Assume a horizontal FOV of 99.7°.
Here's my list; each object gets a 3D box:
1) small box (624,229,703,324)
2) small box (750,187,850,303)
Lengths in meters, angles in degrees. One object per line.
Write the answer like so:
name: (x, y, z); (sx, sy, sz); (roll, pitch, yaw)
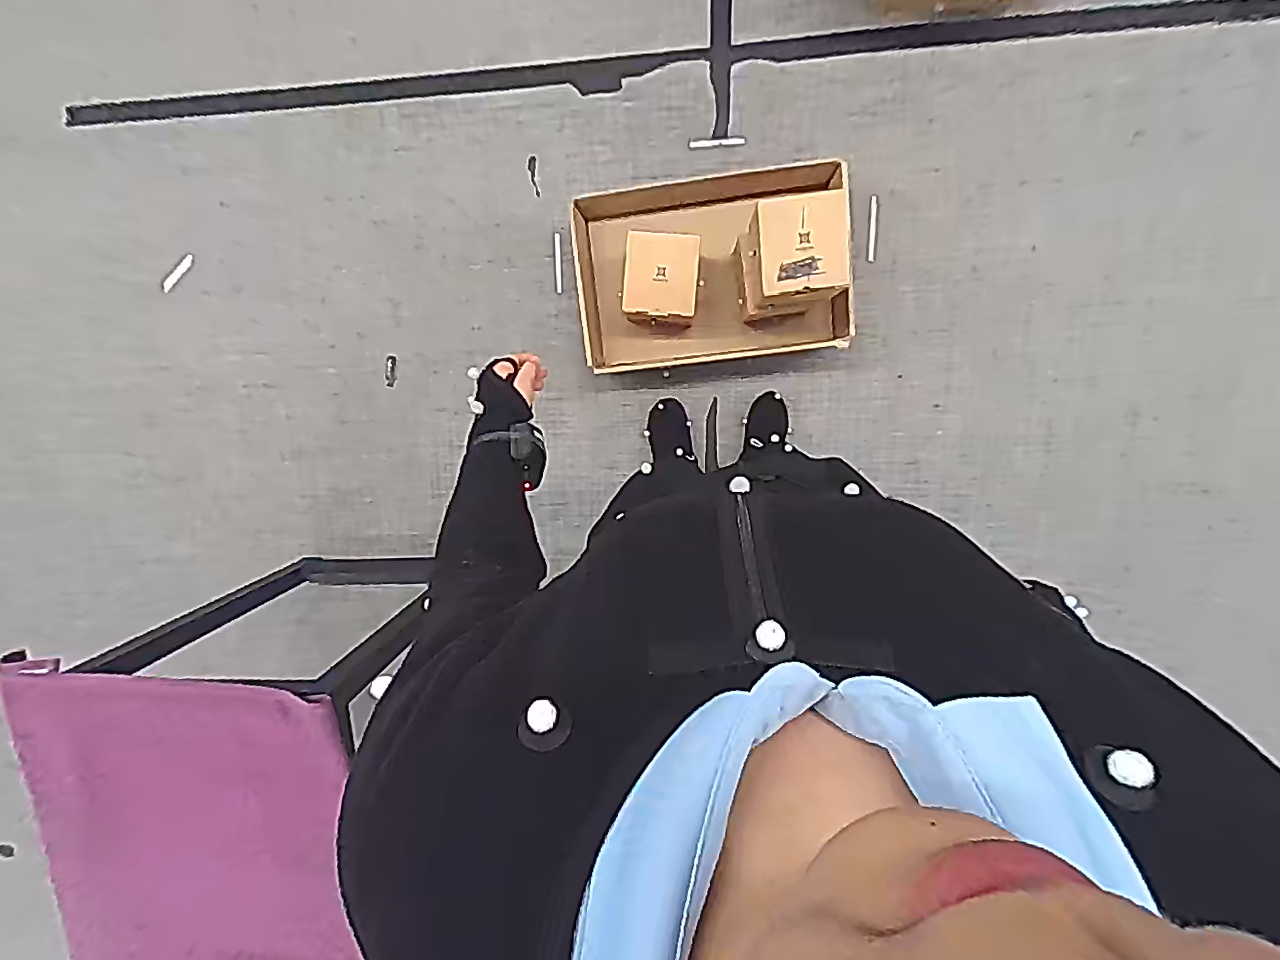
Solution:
small box: (0.054, -0.476, 1.284); (0.168, 0.176, 0.179); (5, 100, 3)
small box: (0.317, -0.462, 1.093); (0.168, 0.176, 0.179); (-5, 99, 6)
